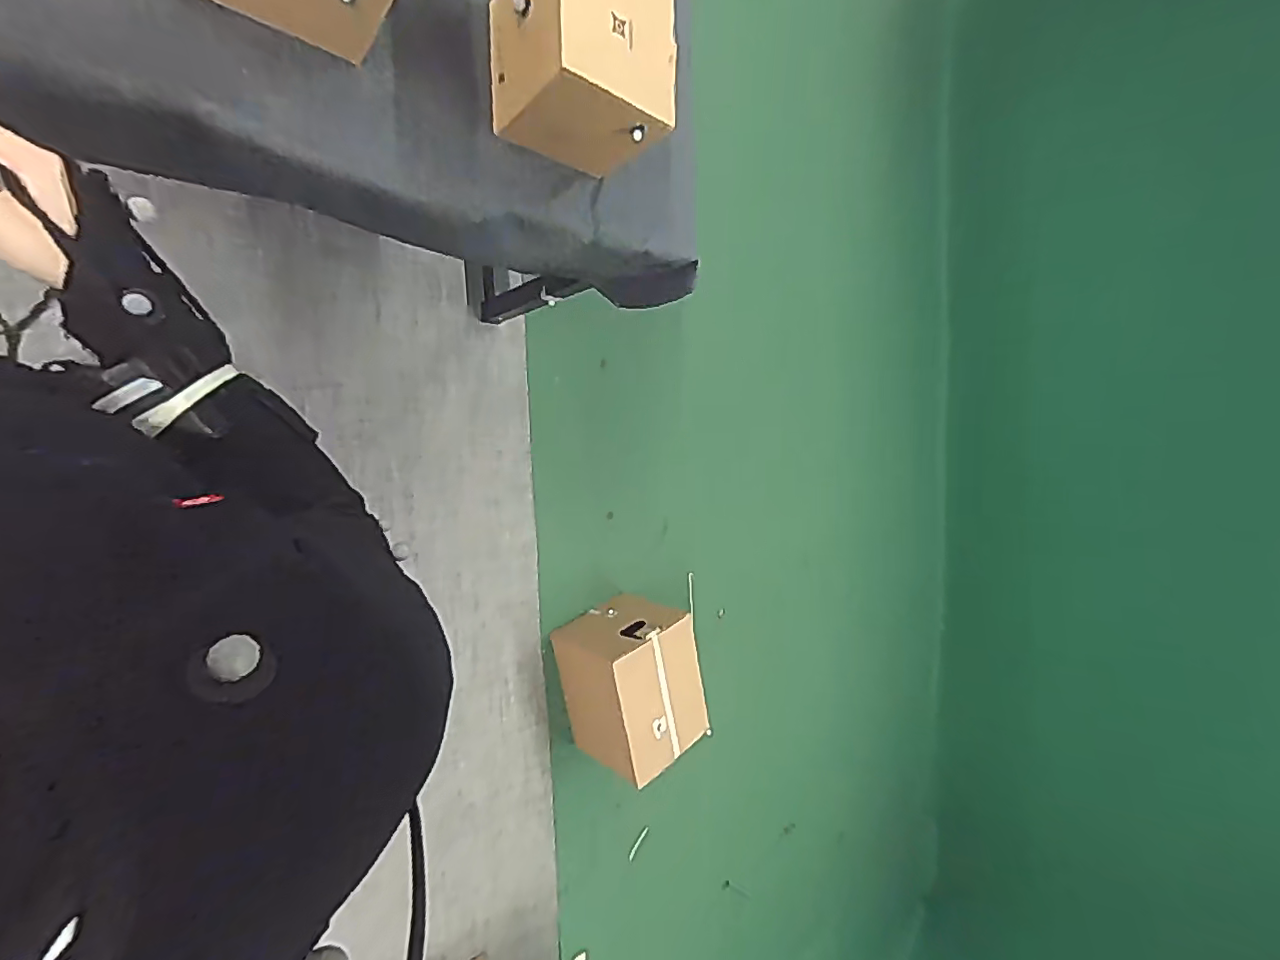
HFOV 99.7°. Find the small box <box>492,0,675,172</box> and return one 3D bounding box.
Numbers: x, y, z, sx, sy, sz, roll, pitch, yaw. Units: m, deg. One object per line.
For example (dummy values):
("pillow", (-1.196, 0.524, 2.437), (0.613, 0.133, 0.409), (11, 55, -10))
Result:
("small box", (-0.076, -0.525, 0.686), (0.179, 0.176, 0.168), (-4, 95, -42))
